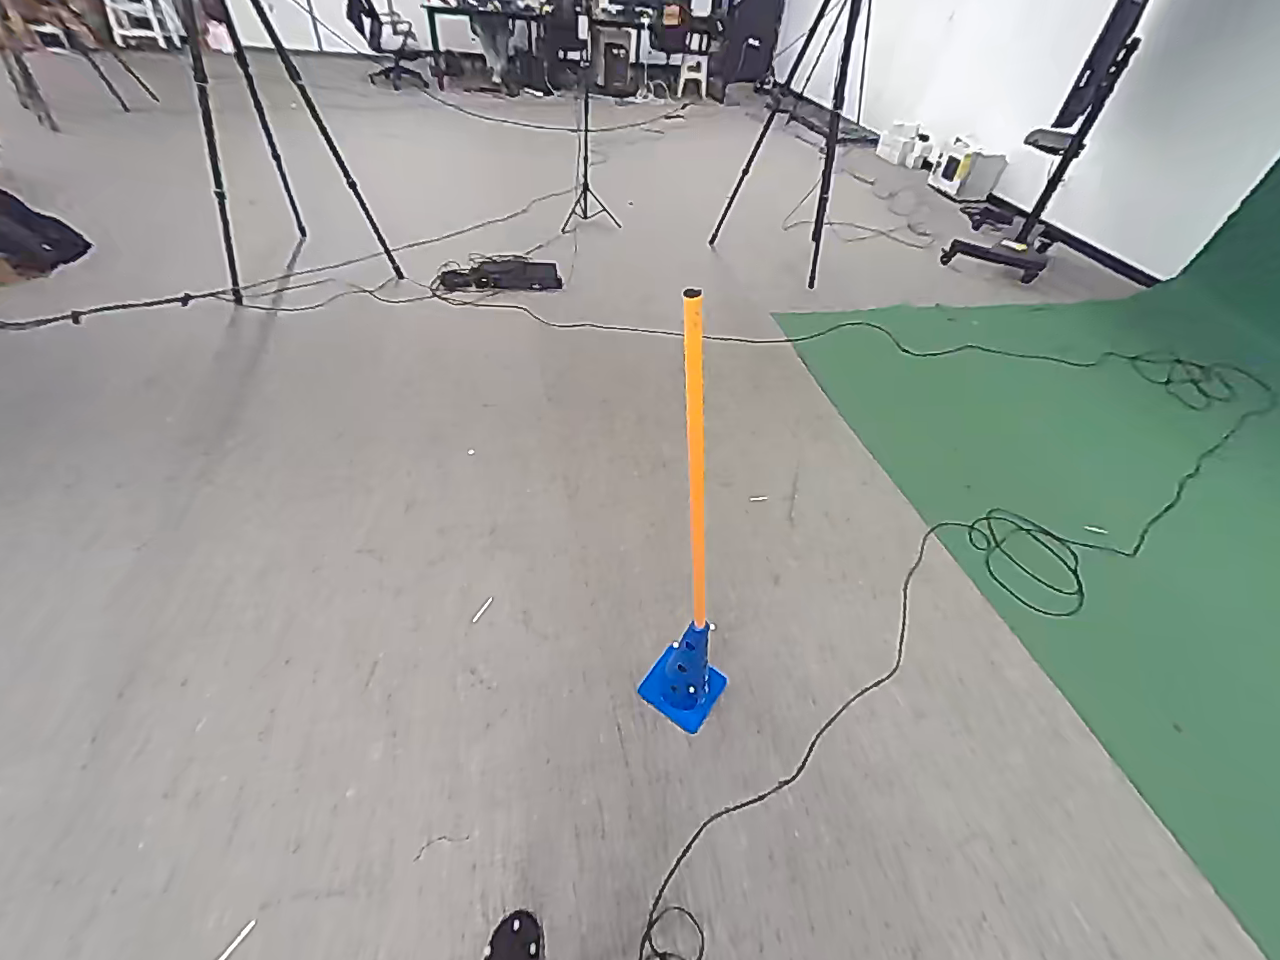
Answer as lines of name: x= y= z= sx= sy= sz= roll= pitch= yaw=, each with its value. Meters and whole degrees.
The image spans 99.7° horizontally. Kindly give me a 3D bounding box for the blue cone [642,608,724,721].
blue cone: x=0.131 y=0.456 z=1.417 sx=0.193 sy=0.380 sz=0.192 roll=28 pitch=50 yaw=21
